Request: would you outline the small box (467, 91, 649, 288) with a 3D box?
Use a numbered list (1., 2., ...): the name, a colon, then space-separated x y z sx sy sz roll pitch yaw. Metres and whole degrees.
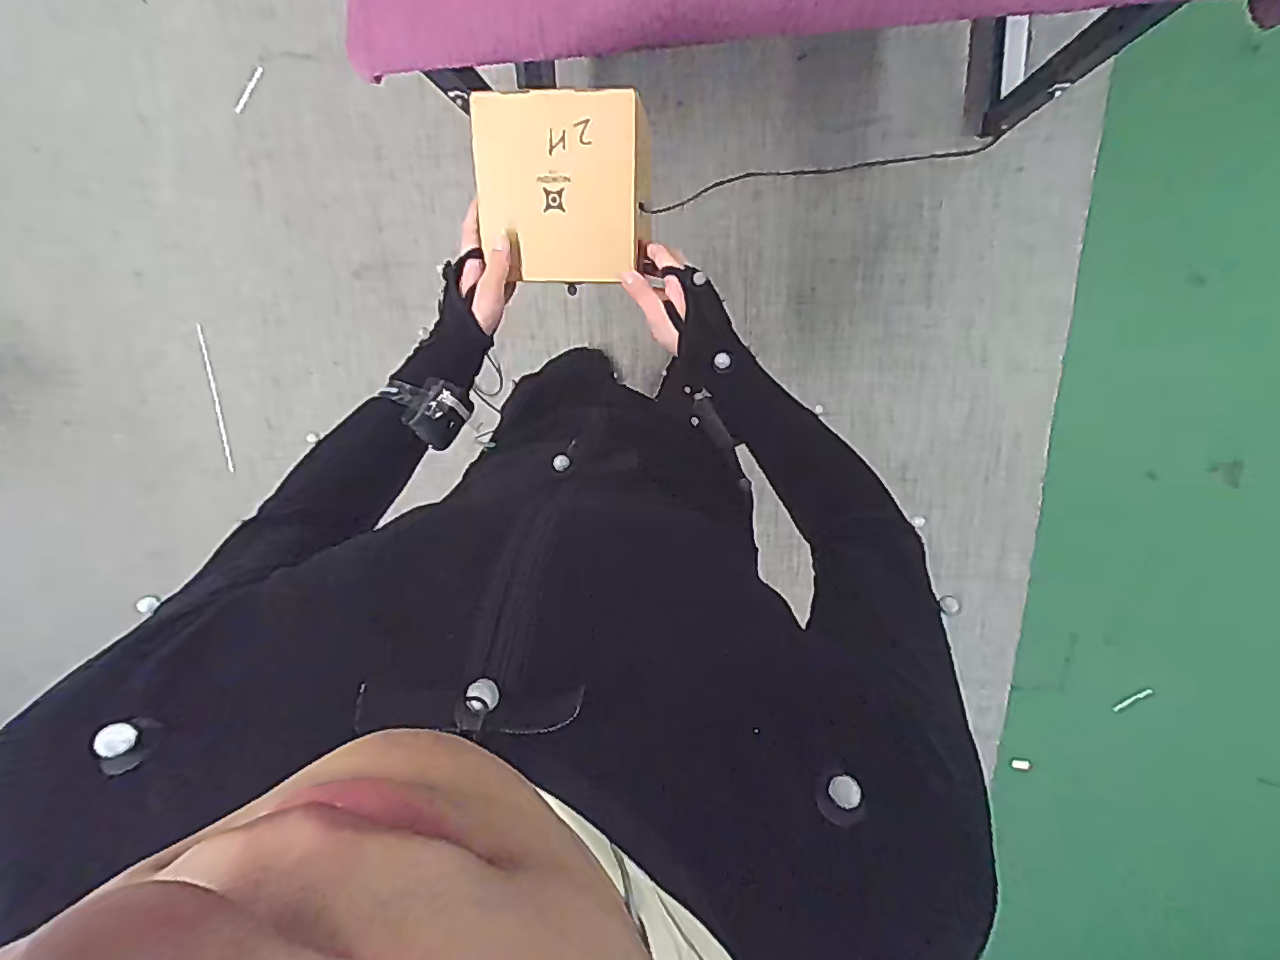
1. small box: -0.079 -0.316 0.617 0.168 0.176 0.179 3 110 5
